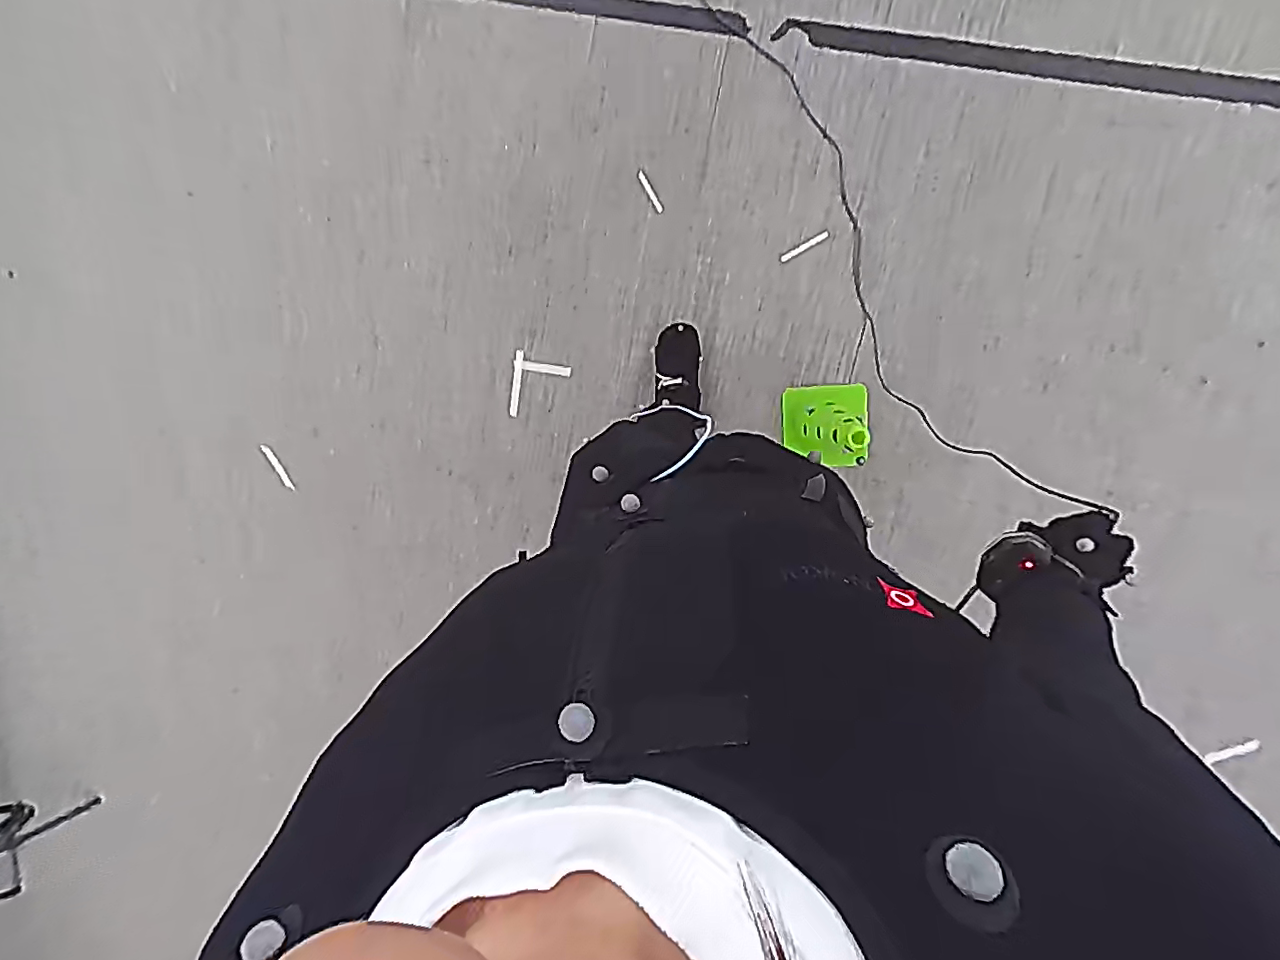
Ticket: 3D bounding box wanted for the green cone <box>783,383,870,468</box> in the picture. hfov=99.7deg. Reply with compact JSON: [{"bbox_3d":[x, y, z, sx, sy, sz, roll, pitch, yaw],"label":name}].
[{"bbox_3d":[0.426,-0.109,1.157,0.202,0.368,0.200,-3,97,11],"label":"green cone"}]
